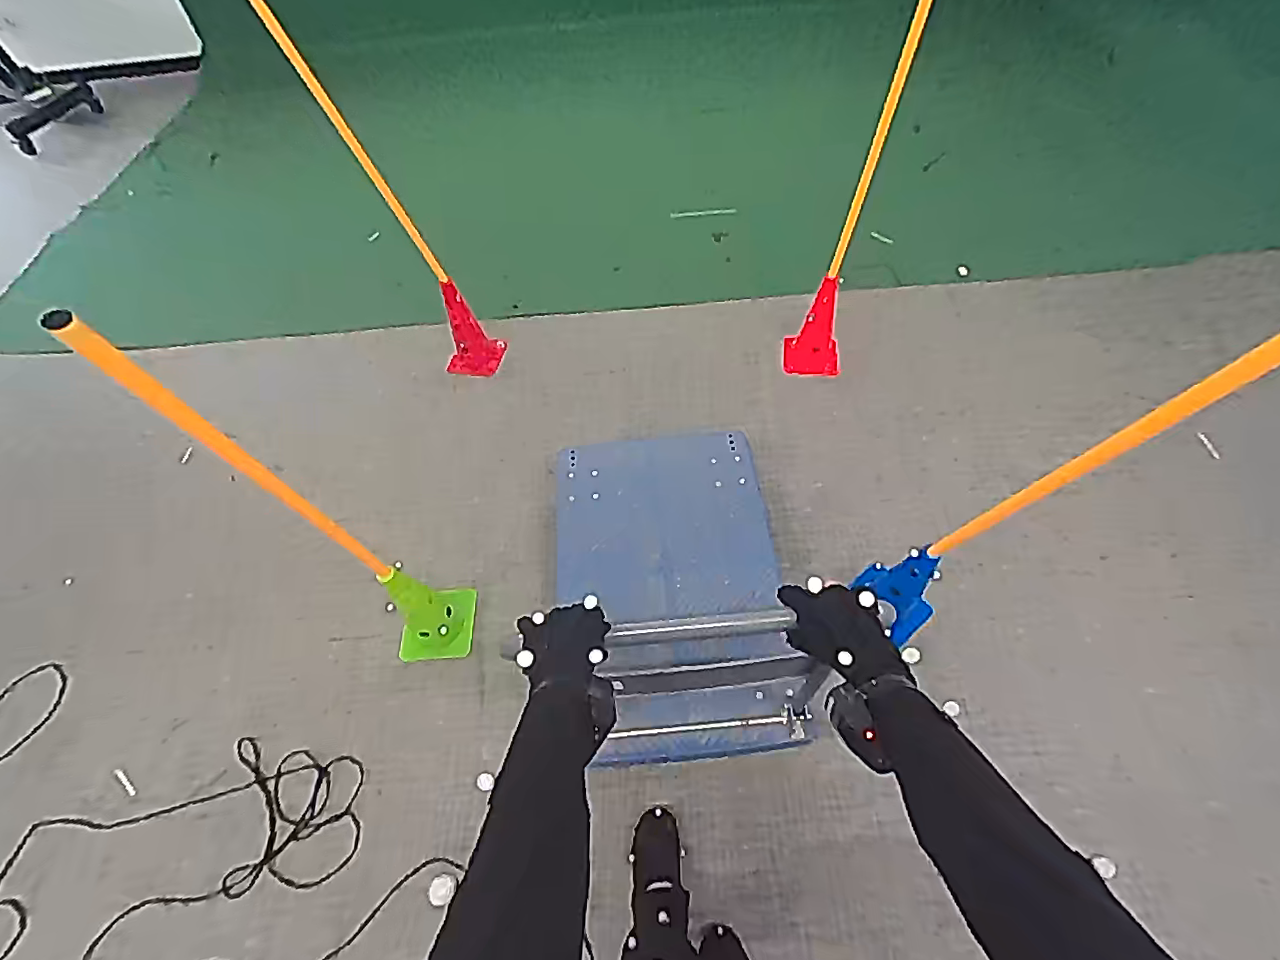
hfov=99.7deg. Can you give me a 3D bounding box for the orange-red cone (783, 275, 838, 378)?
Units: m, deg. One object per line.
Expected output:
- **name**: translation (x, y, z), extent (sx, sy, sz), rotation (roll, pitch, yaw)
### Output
- **orange-red cone**: translation (0.630, -0.554, 1.897), extent (0.198, 0.360, 0.199), rotation (5, 58, 8)
